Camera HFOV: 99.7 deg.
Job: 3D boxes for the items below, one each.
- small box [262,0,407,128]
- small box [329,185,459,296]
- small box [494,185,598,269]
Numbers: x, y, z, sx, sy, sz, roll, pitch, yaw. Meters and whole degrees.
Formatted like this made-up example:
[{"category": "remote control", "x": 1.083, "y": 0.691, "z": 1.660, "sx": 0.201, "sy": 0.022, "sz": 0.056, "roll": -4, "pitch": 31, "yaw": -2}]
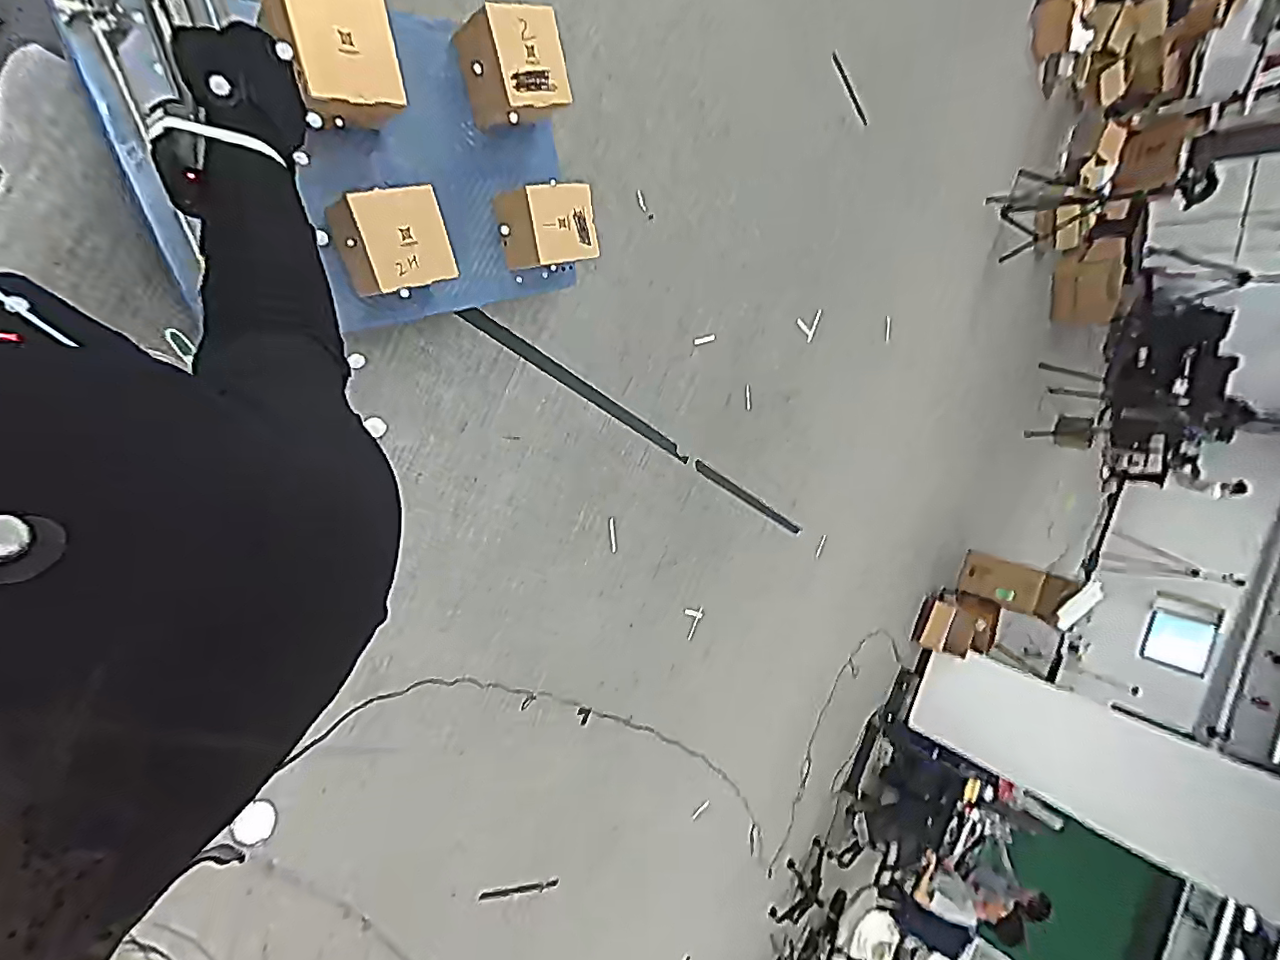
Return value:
[{"category": "small box", "x": -0.555, "y": -0.764, "z": 0.981, "sx": 0.168, "sy": 0.176, "sz": 0.179, "roll": -25, "pitch": 120, "yaw": -37}, {"category": "small box", "x": -0.505, "y": -0.485, "z": 1.106, "sx": 0.168, "sy": 0.176, "sz": 0.179, "roll": -29, "pitch": 120, "yaw": -34}, {"category": "small box", "x": -0.229, "y": -0.617, "z": 1.322, "sx": 0.179, "sy": 0.176, "sz": 0.168, "roll": -25, "pitch": 117, "yaw": -34}]
